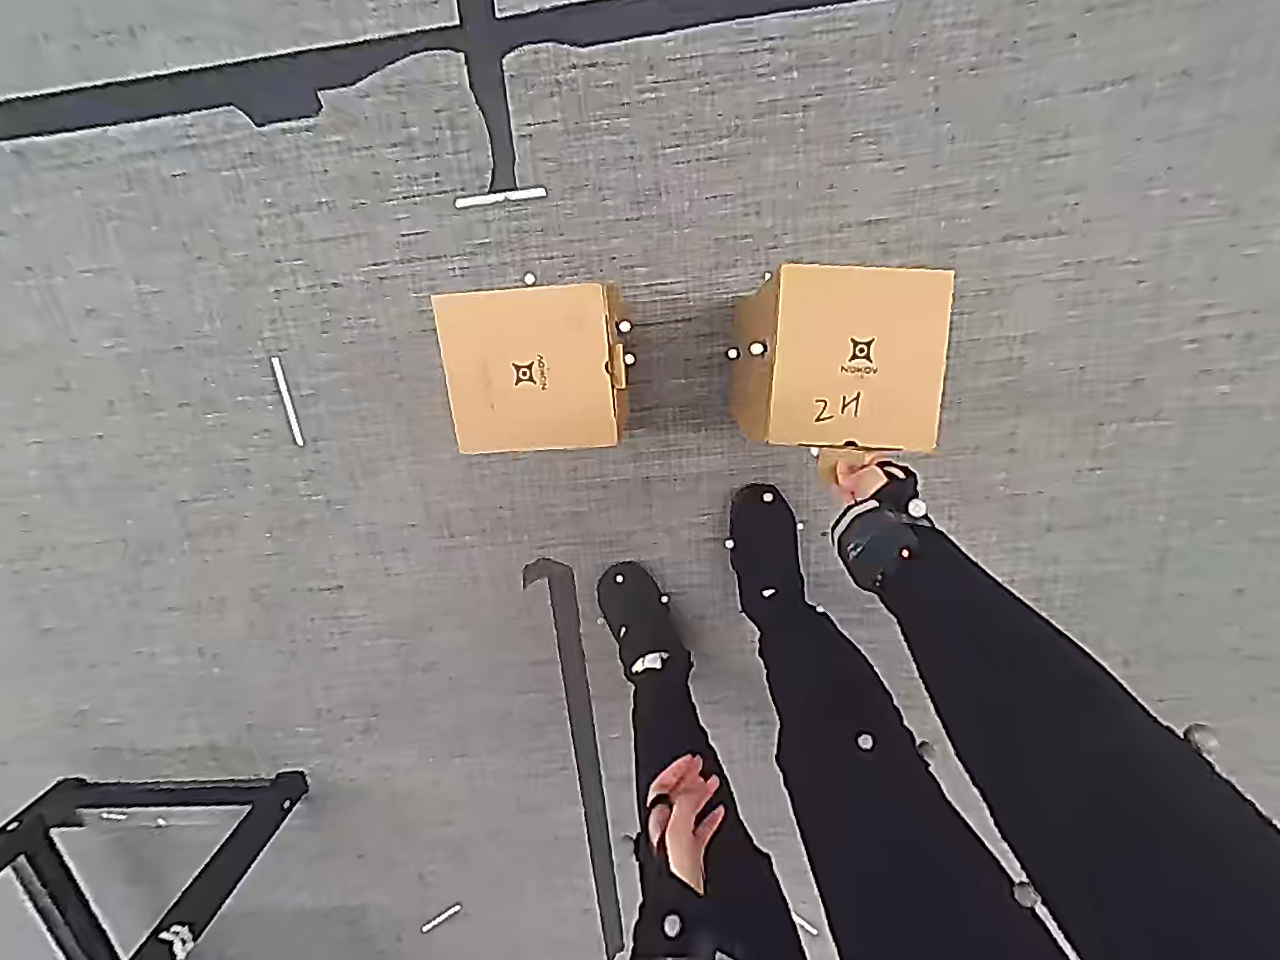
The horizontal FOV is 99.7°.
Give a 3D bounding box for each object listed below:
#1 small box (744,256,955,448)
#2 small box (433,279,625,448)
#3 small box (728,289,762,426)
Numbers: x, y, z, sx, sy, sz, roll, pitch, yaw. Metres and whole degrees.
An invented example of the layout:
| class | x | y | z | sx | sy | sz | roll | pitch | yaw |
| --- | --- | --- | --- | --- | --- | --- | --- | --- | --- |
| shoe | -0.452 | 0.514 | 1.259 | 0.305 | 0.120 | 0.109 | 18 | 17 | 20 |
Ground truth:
| class | x | y | z | sx | sy | sz | roll | pitch | yaw |
| --- | --- | --- | --- | --- | --- | --- | --- | --- | --- |
| small box | 0.213 | -0.132 | 0.598 | 0.168 | 0.176 | 0.179 | 3 | 98 | 1 |
| small box | -0.109 | -0.140 | 0.621 | 0.179 | 0.176 | 0.168 | -3 | 108 | 3 |
| small box | 0.220 | -0.177 | 0.771 | 0.168 | 0.176 | 0.179 | 1 | 108 | 1 |
